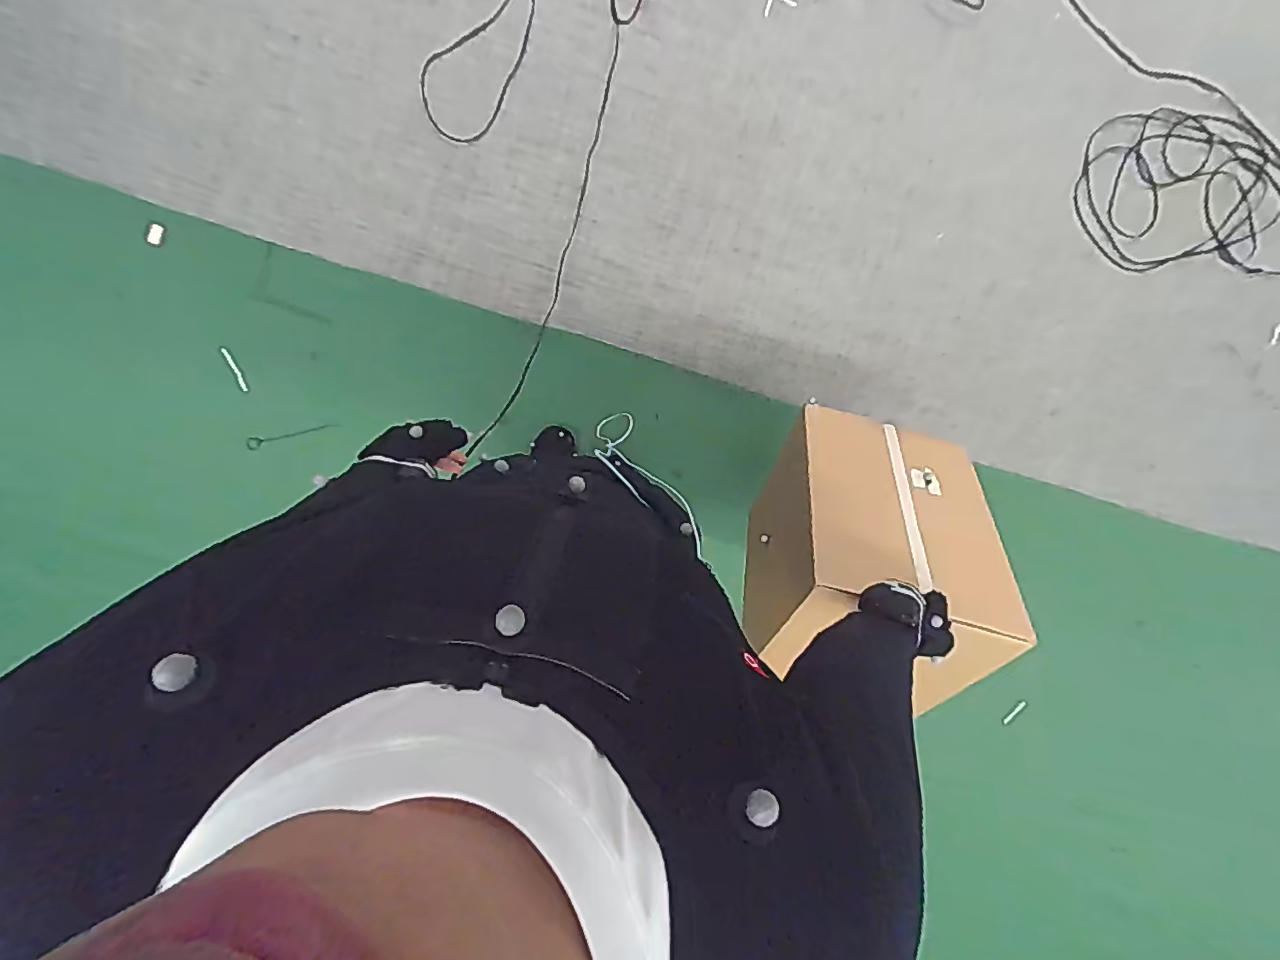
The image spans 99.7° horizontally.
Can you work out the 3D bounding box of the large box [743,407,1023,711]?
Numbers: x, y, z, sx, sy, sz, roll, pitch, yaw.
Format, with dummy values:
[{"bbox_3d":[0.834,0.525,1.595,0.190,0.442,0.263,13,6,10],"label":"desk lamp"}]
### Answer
[{"bbox_3d":[0.385,0.139,0.982,0.320,0.408,0.320,16,136,-2],"label":"large box"}]
